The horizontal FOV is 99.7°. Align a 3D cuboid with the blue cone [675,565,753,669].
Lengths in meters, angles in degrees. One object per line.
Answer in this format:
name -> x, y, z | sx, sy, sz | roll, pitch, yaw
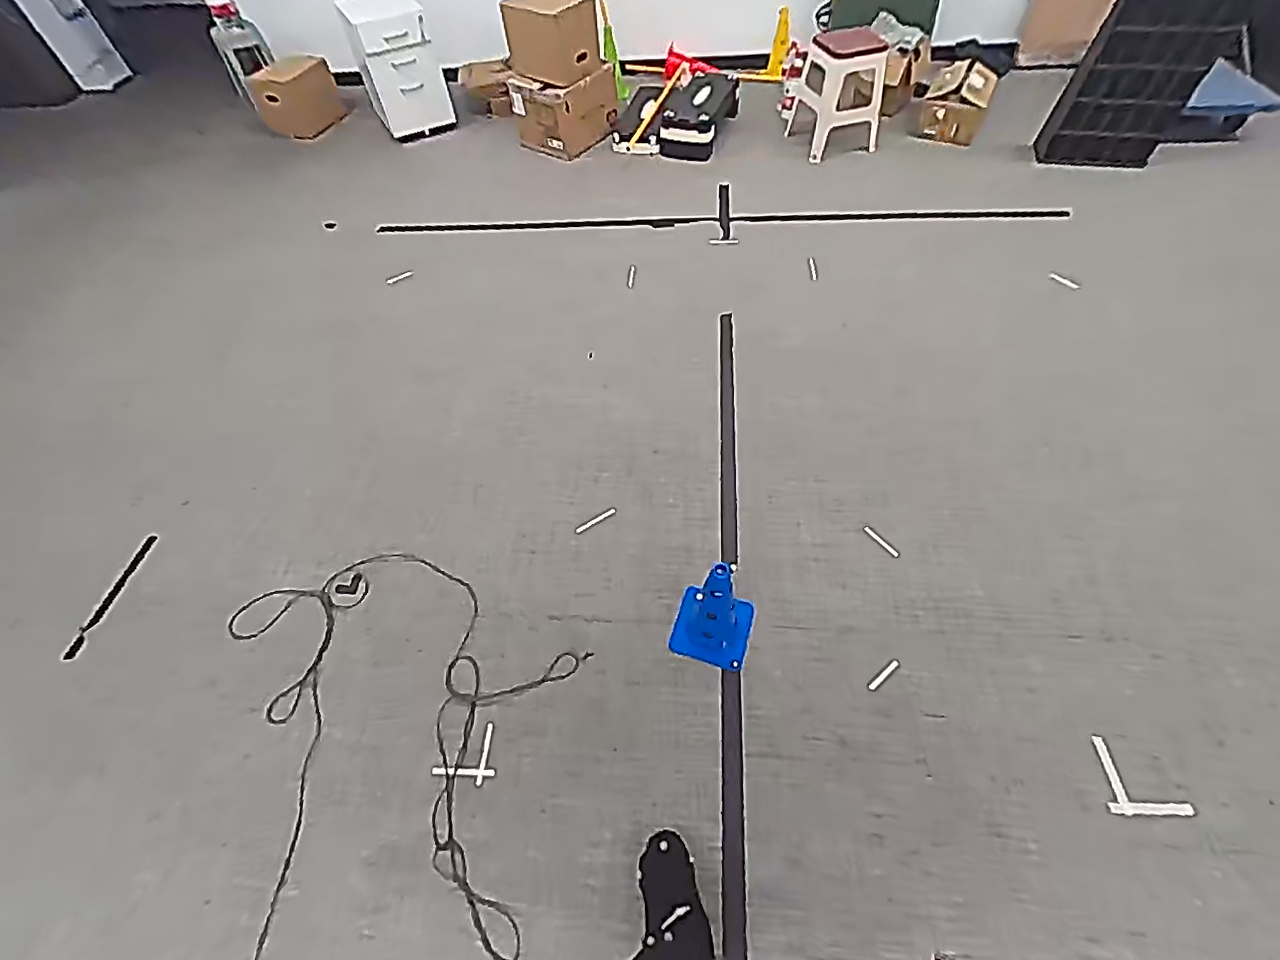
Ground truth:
blue cone -> 0.194, 0.309, 1.340 | 0.192, 0.380, 0.193 | 16, 57, 13
